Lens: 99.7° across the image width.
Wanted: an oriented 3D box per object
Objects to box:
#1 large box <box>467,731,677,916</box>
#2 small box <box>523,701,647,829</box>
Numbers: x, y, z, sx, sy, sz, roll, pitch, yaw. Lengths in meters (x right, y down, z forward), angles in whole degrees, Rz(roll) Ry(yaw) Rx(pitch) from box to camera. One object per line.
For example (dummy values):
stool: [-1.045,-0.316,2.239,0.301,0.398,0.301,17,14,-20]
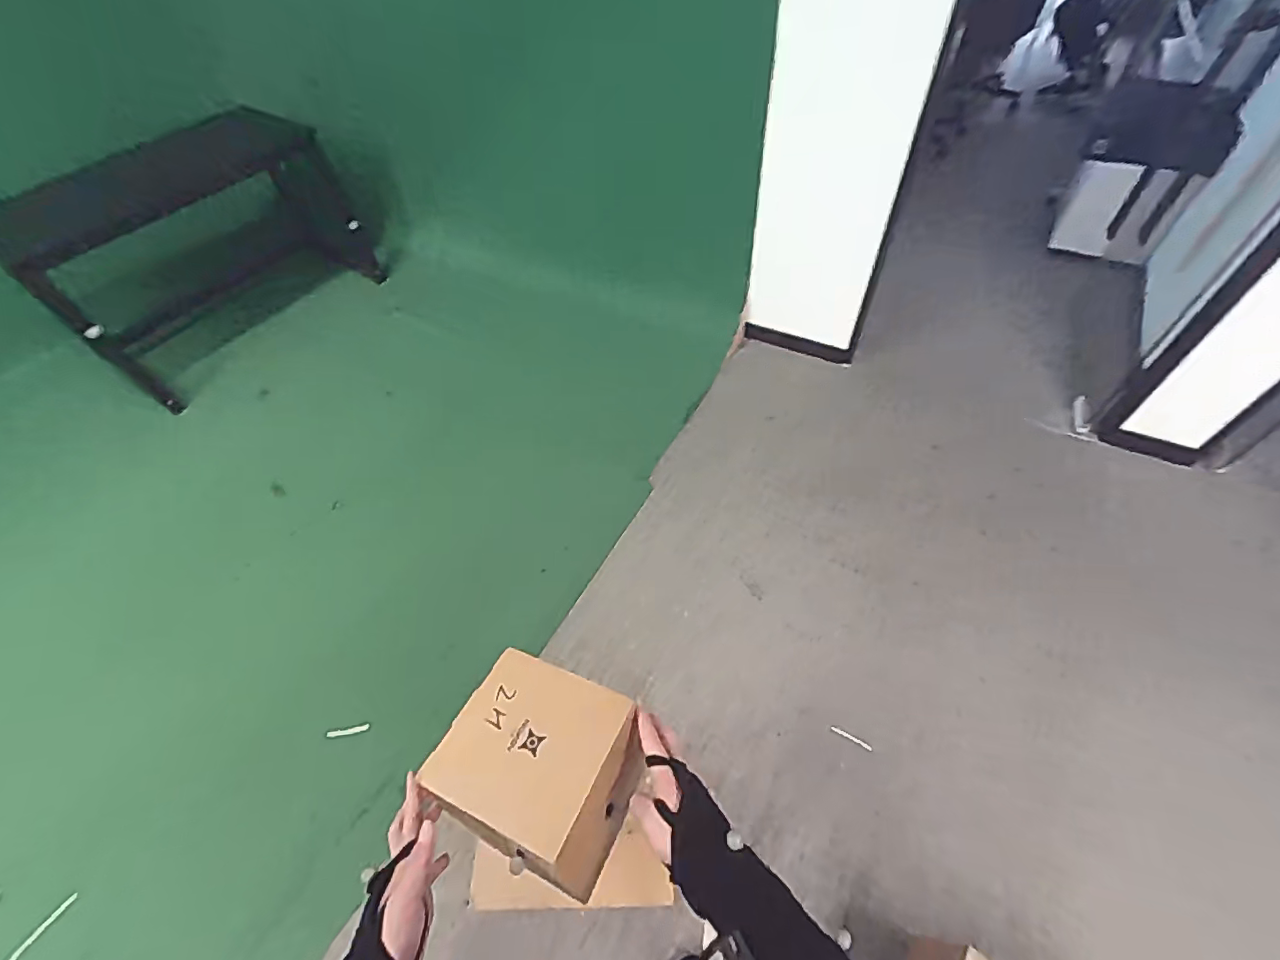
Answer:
large box: [-0.130,0.788,1.241,0.408,0.320,0.320,-4,52,2]
small box: [-0.084,0.499,0.941,0.179,0.176,0.168,2,53,5]
